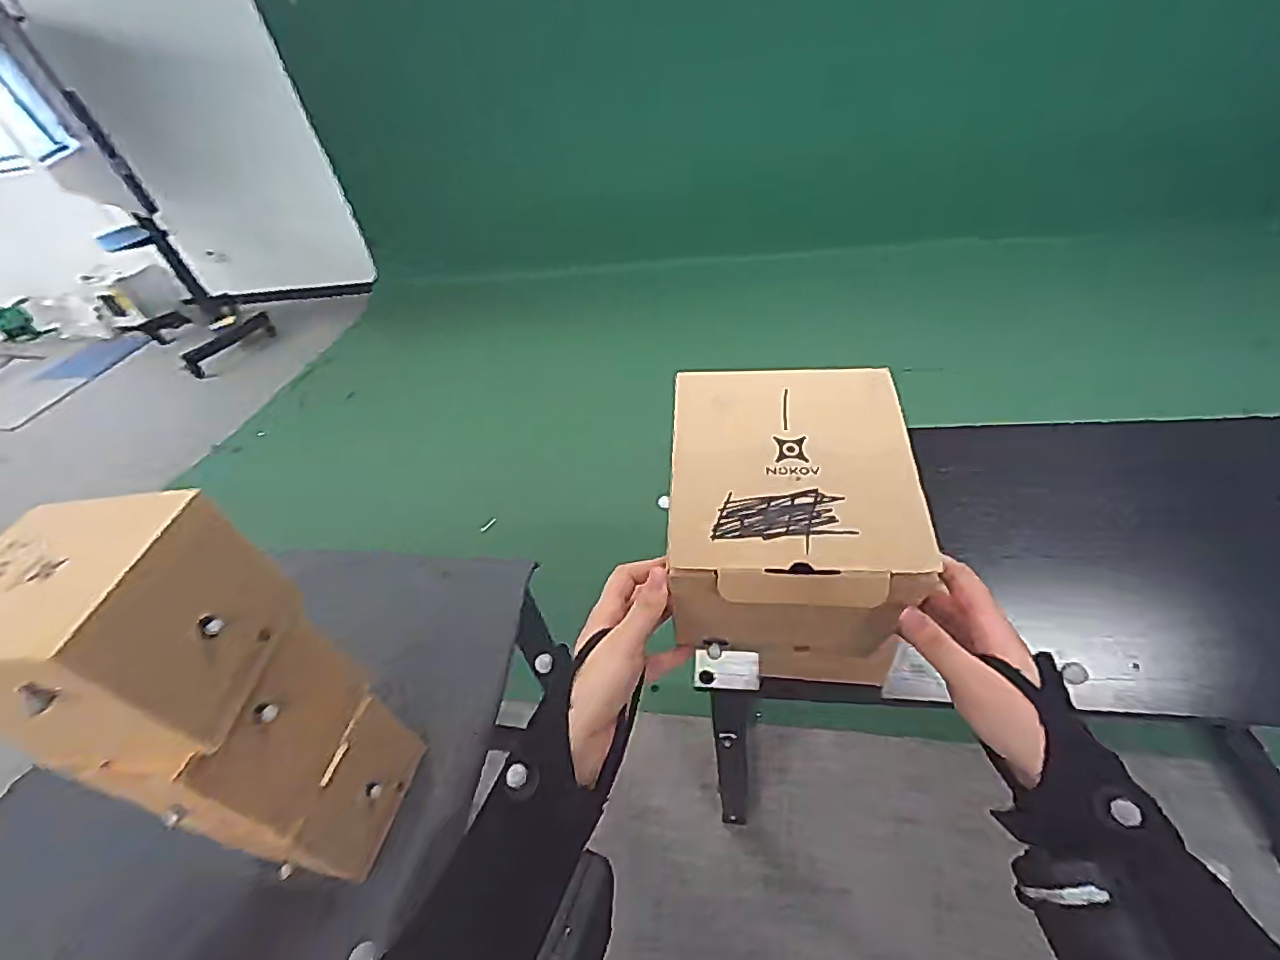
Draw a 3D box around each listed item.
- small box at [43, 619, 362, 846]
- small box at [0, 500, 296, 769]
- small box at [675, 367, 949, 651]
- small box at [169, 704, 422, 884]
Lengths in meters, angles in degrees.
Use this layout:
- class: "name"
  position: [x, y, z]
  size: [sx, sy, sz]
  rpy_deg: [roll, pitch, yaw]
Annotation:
- class: "small box"
  position: [-0.441, 0.265, 0.587]
  size: [0.168, 0.176, 0.179]
  rpy_deg: [-1, 44, 13]
- class: "small box"
  position: [-0.459, 0.140, 0.480]
  size: [0.179, 0.176, 0.168]
  rpy_deg: [-6, 42, 8]
- class: "small box"
  position: [0.119, 0.031, 0.441]
  size: [0.168, 0.176, 0.179]
  rpy_deg: [0, 56, 7]
- class: "small box"
  position: [-0.415, 0.390, 0.689]
  size: [0.179, 0.176, 0.168]
  rpy_deg: [1, 44, 14]
